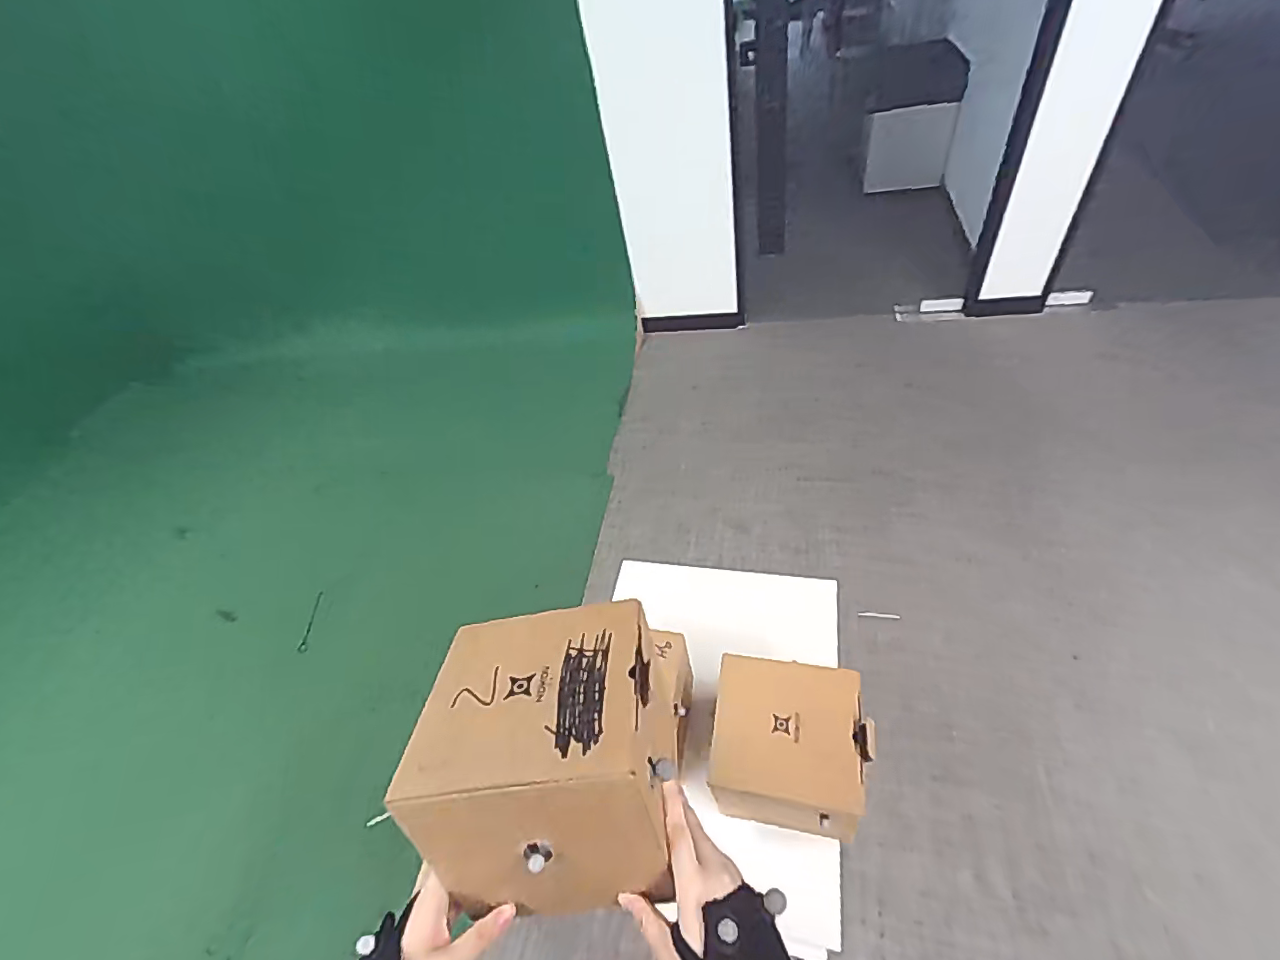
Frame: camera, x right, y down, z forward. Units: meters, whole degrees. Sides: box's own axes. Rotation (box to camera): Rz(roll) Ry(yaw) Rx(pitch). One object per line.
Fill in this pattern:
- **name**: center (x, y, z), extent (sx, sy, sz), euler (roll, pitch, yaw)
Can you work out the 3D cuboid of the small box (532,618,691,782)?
- **small box**: center (-0.030, 0.323, 0.790), extent (0.179, 0.176, 0.168), euler (3, 50, 15)
